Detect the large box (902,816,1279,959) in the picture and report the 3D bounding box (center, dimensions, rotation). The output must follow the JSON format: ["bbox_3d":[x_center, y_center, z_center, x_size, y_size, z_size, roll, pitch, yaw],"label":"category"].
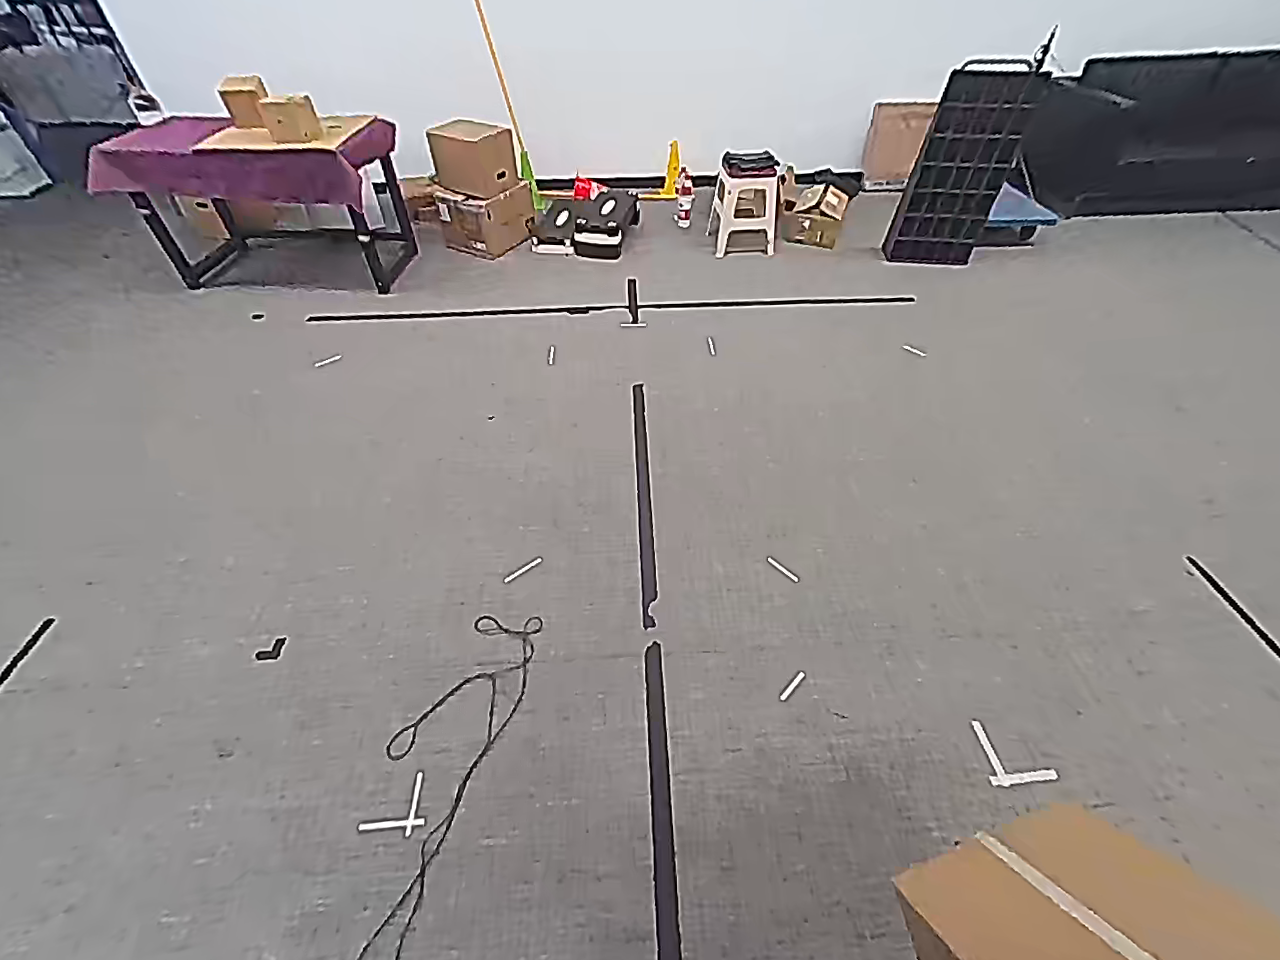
[{"bbox_3d":[0.589,0.681,0.608,0.320,0.408,0.320,-17,87,-8],"label":"large box"}]
